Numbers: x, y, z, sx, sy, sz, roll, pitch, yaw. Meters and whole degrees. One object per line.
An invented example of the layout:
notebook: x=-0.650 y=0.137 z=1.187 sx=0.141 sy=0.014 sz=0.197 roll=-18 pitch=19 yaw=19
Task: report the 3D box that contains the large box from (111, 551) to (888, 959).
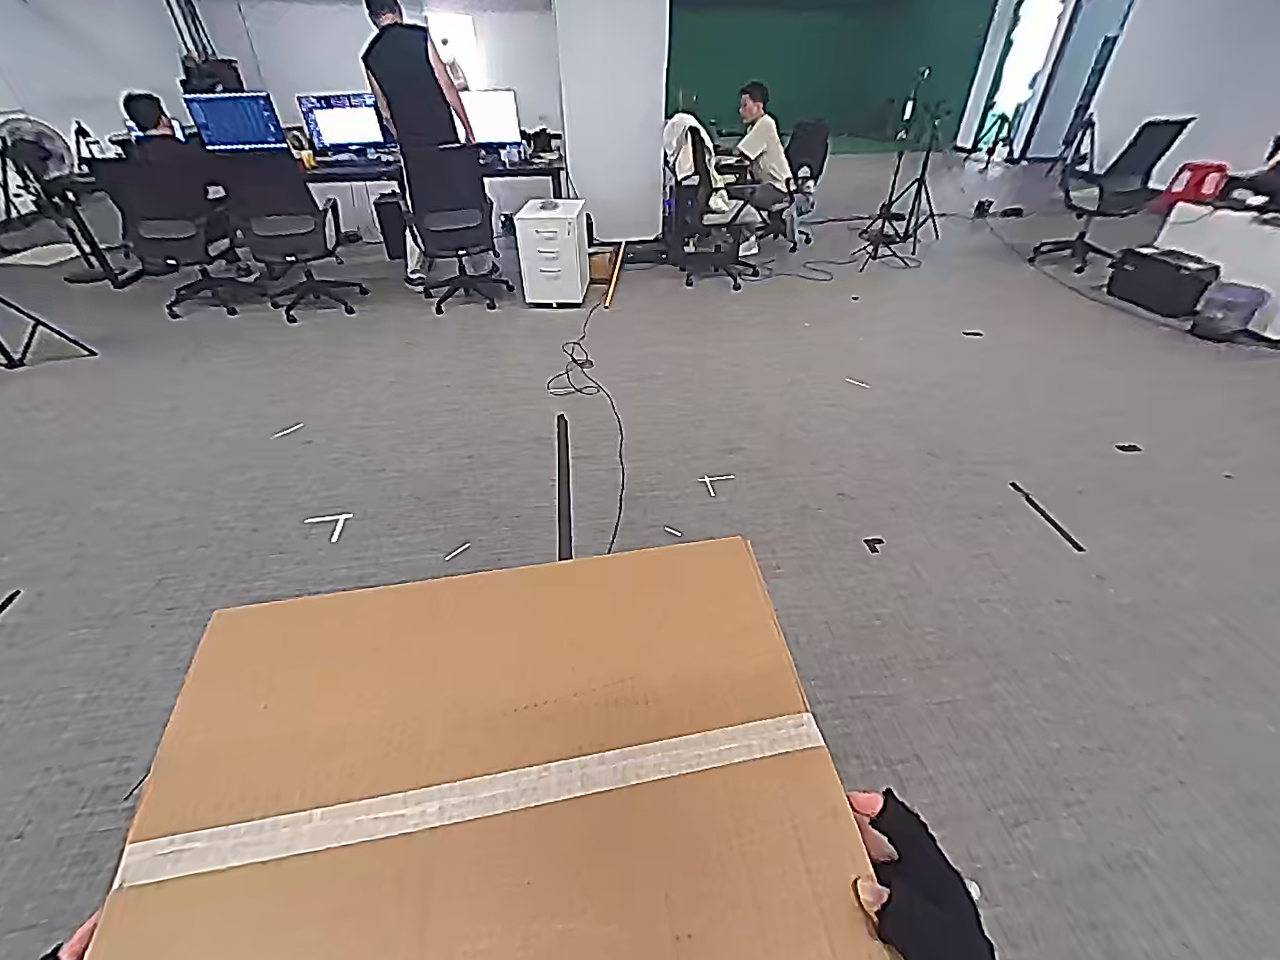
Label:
large box: x=-0.084 y=0.296 z=0.440 sx=0.408 sy=0.320 sz=0.320 roll=-8 pitch=49 yaw=-7
